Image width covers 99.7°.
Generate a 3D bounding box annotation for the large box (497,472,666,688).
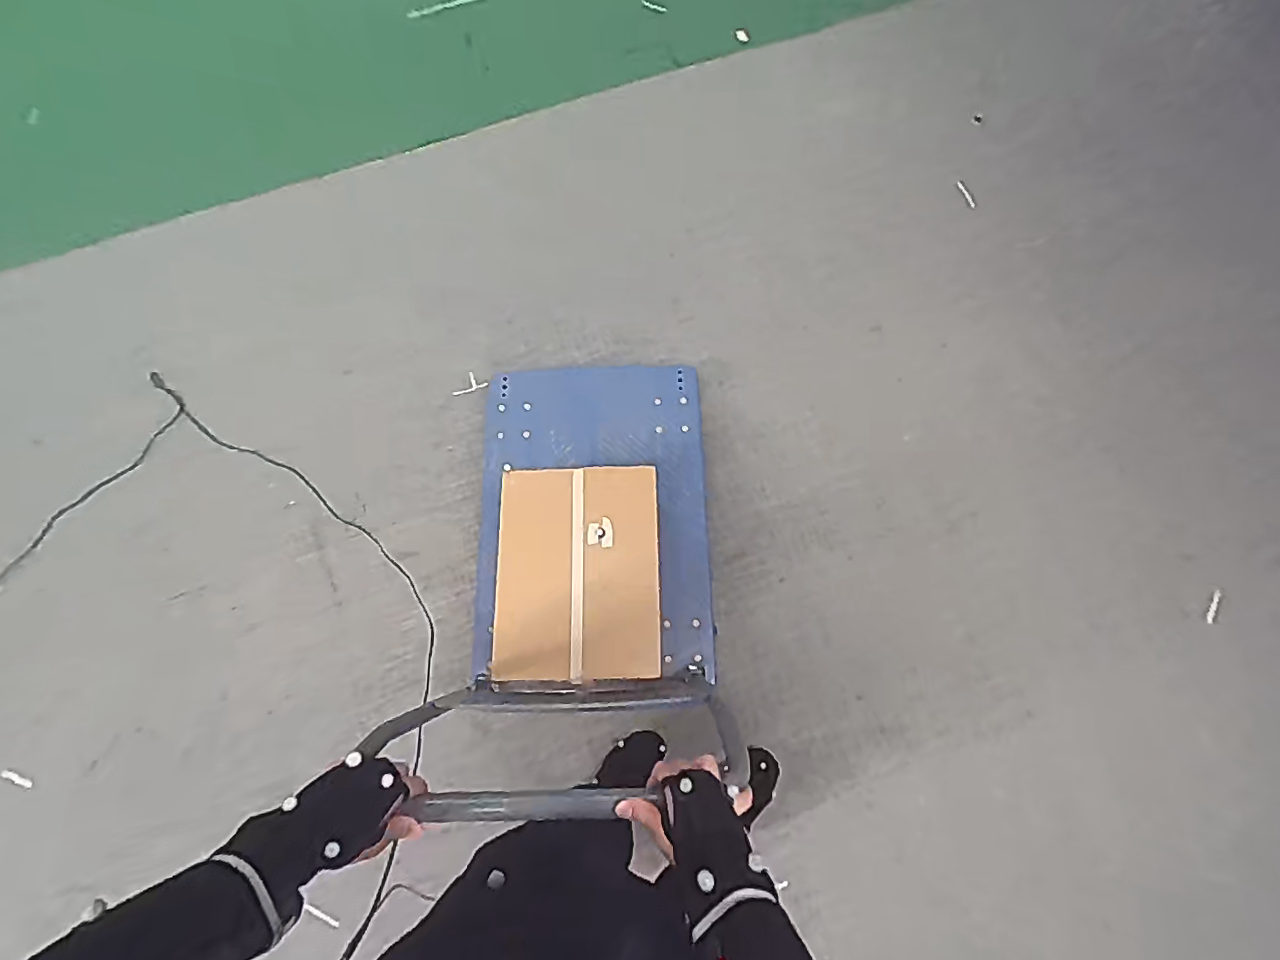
[{"bbox_3d":[-0.109,0.227,1.178,0.320,0.320,0.408,-2,72,1],"label":"large box"}]
